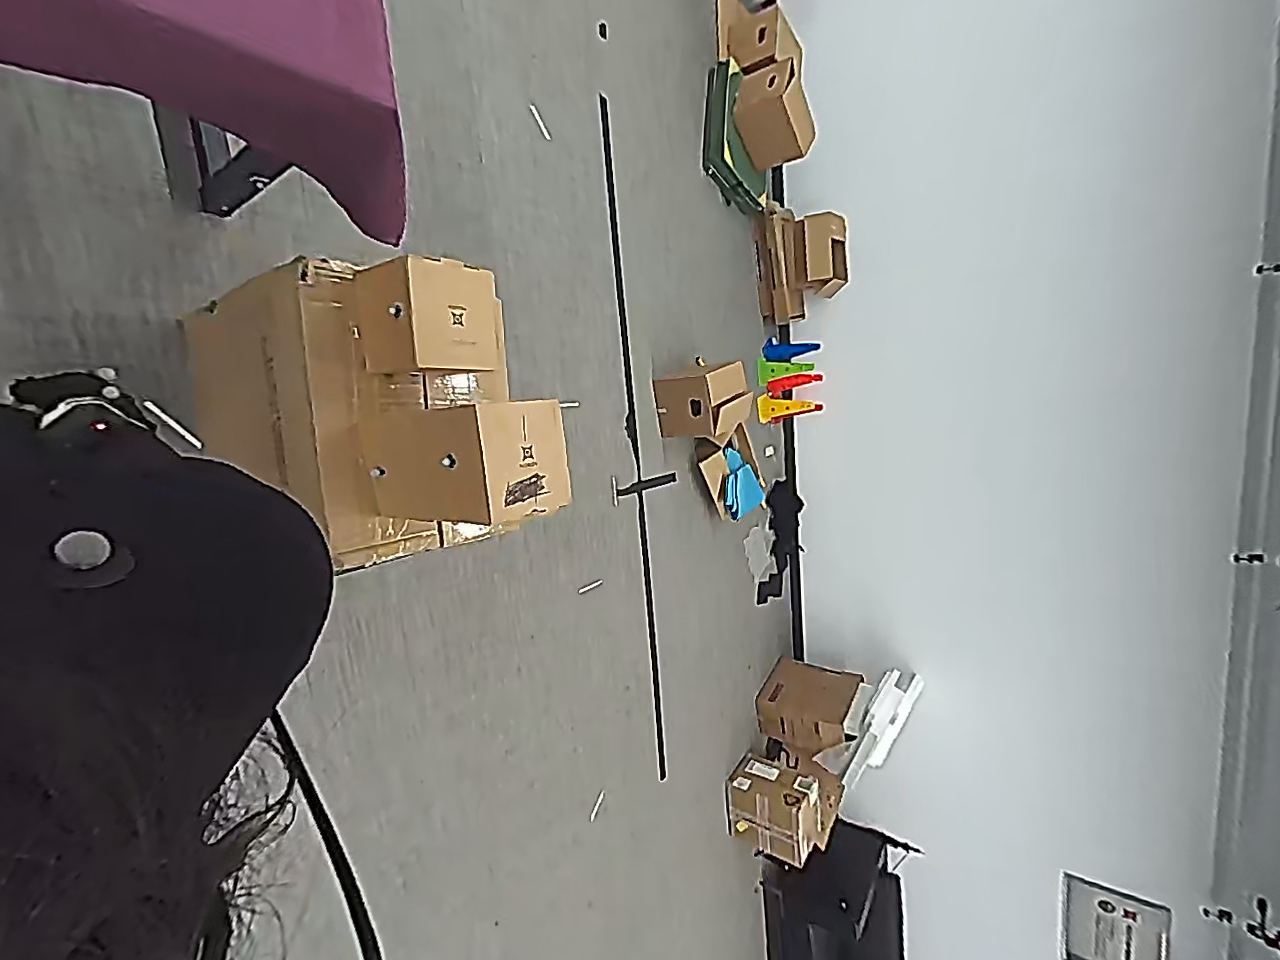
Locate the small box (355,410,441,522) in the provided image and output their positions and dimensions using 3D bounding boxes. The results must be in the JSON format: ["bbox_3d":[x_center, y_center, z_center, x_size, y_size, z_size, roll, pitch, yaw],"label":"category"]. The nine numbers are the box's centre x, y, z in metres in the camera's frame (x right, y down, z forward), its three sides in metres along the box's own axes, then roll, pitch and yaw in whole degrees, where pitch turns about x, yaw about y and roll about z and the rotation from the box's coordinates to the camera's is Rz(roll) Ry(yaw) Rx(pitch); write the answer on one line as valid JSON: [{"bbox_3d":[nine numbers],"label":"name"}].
[{"bbox_3d":[-0.373,-0.036,0.962,0.168,0.176,0.179,-23,109,-51],"label":"small box"}]

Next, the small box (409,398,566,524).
[{"bbox_3d":[-0.242,-0.035,0.861,0.168,0.176,0.179,-14,101,-52],"label":"small box"}]
